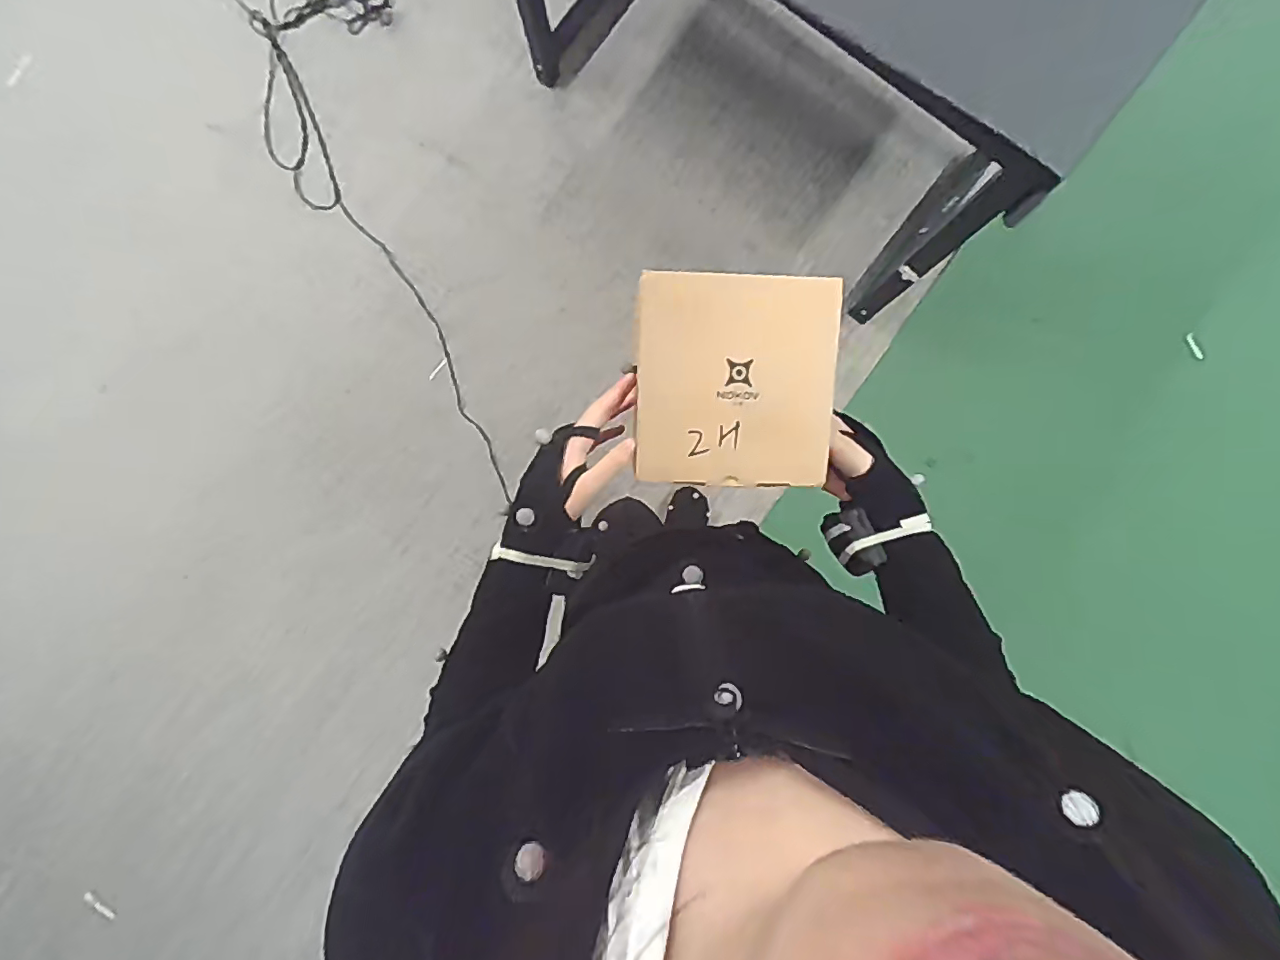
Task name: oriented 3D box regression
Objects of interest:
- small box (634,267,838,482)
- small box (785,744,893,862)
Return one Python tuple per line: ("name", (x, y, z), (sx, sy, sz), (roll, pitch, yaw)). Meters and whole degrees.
("small box", (0.079, -0.098, 0.534), (0.168, 0.176, 0.179), (1, 100, 0))
("small box", (0.503, 0.819, 1.398), (0.179, 0.176, 0.168), (36, 90, 1))
